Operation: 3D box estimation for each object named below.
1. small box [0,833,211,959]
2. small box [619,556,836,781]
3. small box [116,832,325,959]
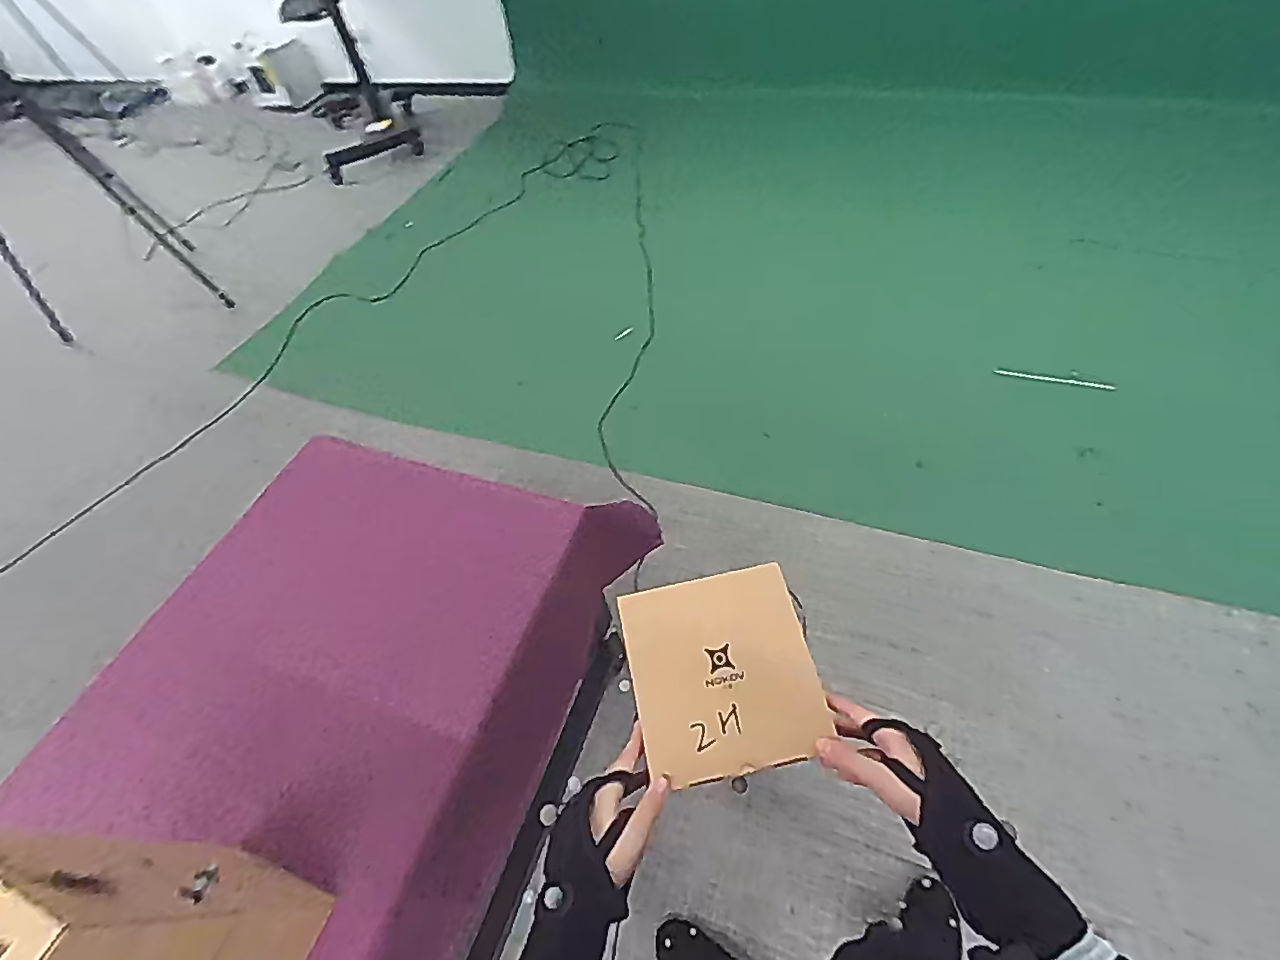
[{"bbox_3d":[-0.482,0.390,0.408,0.168,0.176,0.179,13,58,18],"label":"small box"},{"bbox_3d":[0.078,0.201,0.562,0.168,0.176,0.179,-12,62,0],"label":"small box"},{"bbox_3d":[-0.467,0.485,0.542,0.168,0.176,0.179,12,57,16],"label":"small box"}]
